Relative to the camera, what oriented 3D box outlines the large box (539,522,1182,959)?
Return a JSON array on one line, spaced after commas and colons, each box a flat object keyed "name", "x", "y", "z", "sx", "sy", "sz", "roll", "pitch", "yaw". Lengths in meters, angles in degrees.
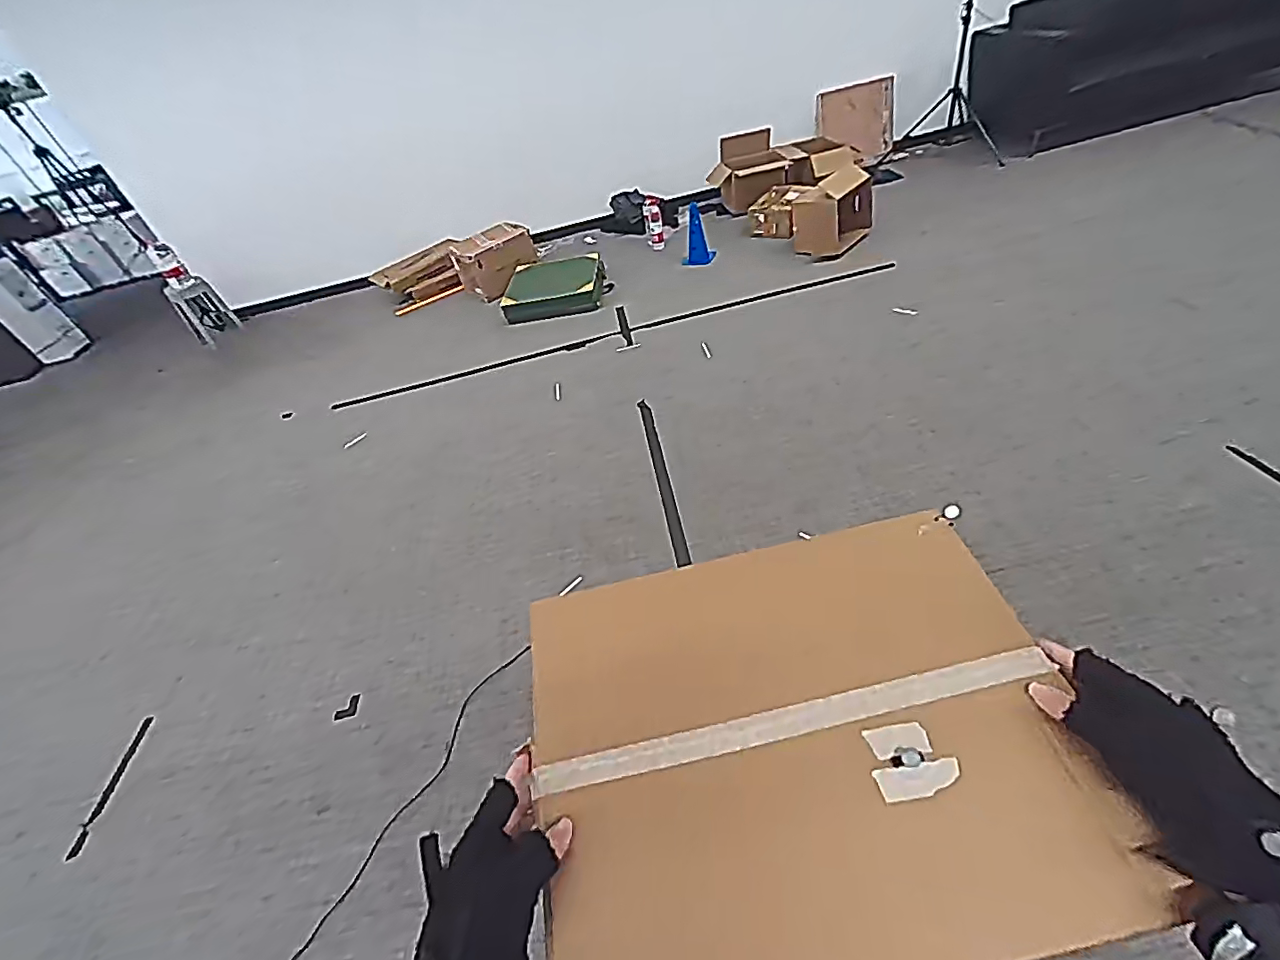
[{"name": "large box", "x": 0.141, "y": 0.294, "z": 0.541, "sx": 0.408, "sy": 0.320, "sz": 0.320, "roll": -13, "pitch": 49, "yaw": -1}]
